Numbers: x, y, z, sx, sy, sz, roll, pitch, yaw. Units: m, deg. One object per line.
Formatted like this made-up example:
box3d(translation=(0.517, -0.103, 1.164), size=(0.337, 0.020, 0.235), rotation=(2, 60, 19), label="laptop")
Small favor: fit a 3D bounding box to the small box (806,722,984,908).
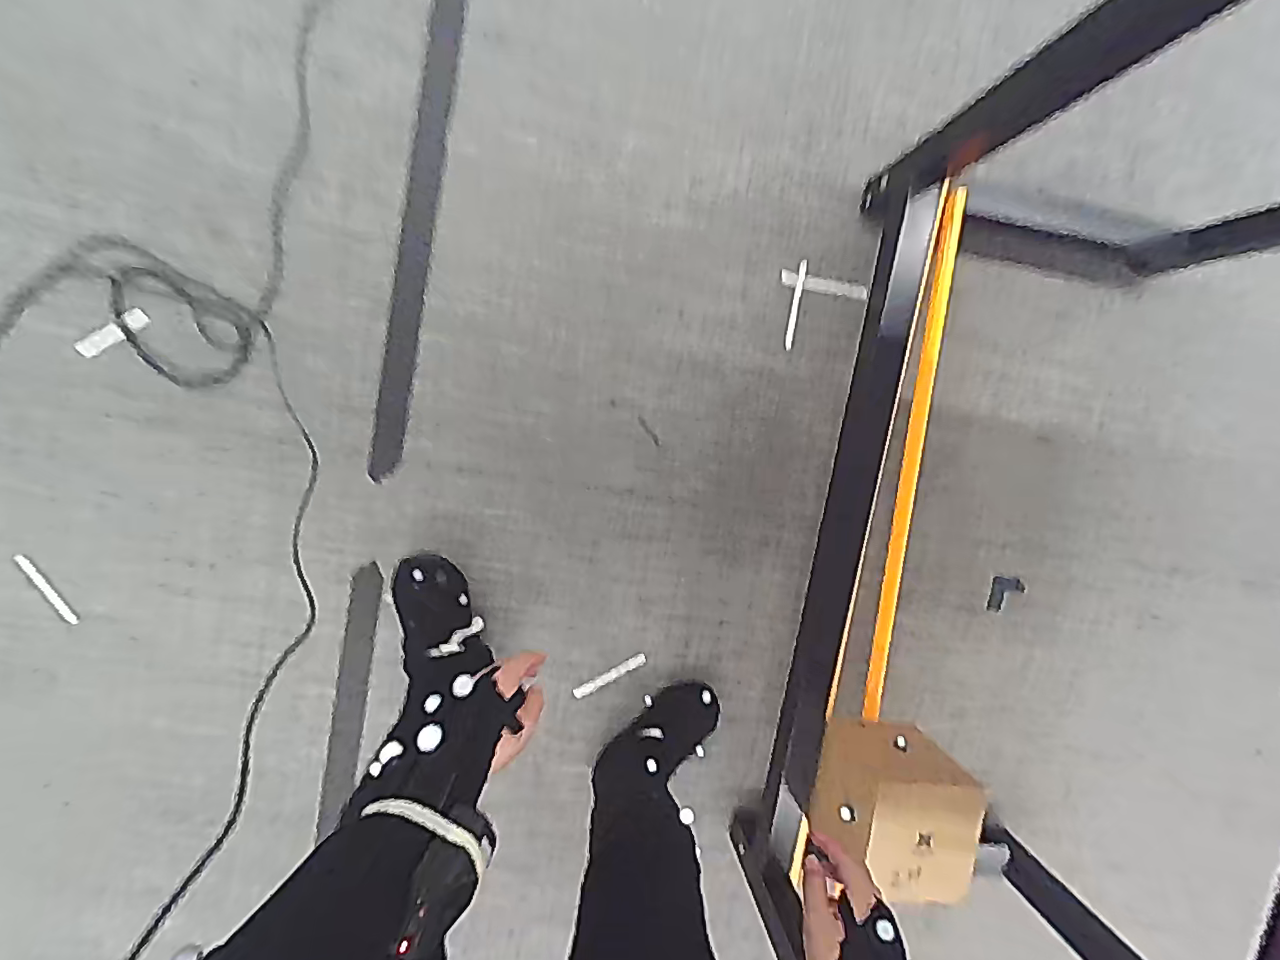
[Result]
box3d(translation=(0.368, 0.490, 0.812), size=(0.168, 0.176, 0.179), rotation=(8, 95, -8), label="small box")
